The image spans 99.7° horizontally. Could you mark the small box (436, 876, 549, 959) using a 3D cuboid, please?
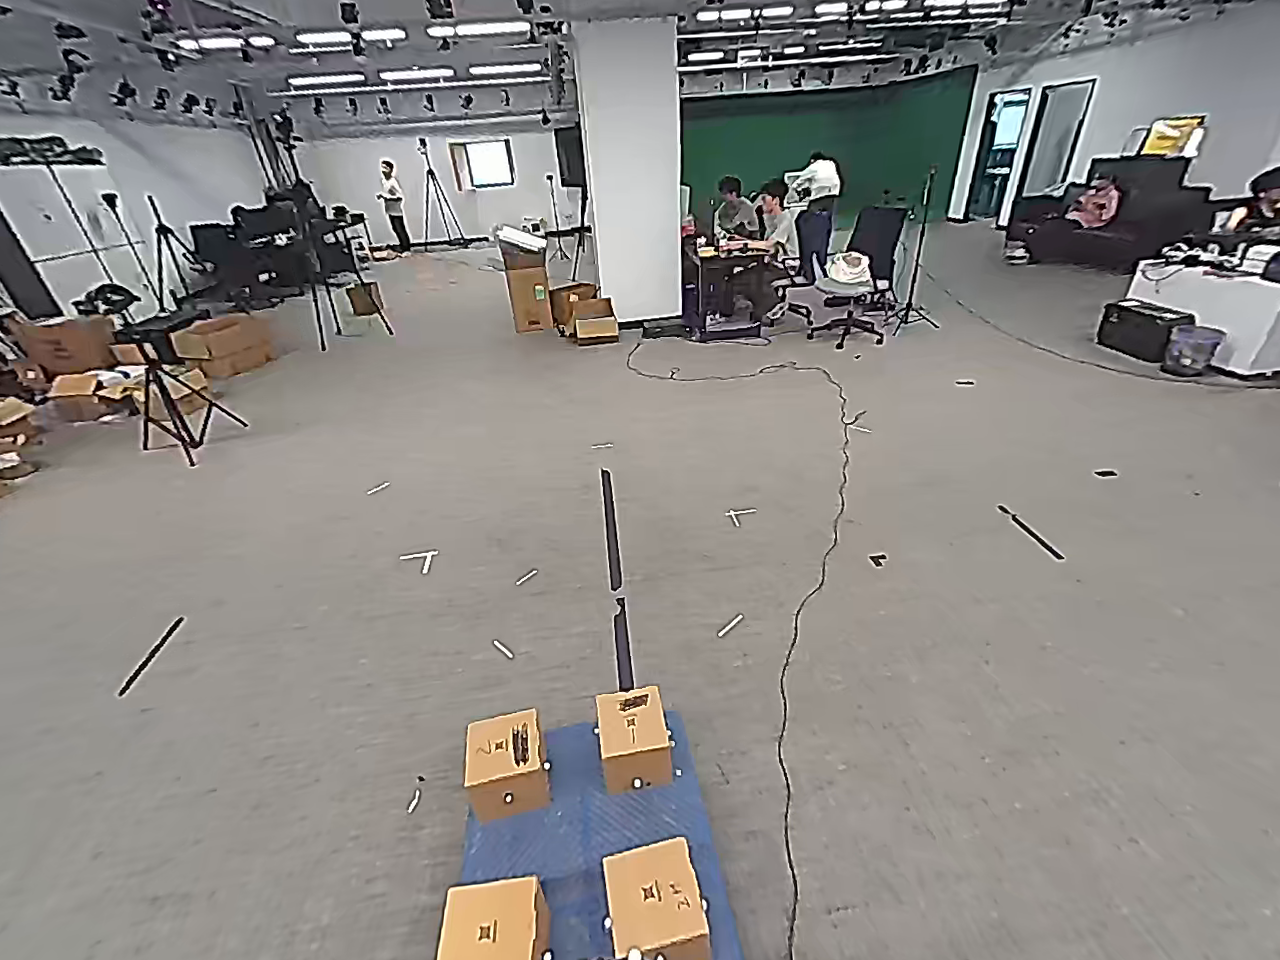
[{"bbox_3d":[-0.276,0.901,1.032,0.179,0.176,0.168,-5,31,-4],"label":"small box"}]

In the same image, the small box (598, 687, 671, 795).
[{"bbox_3d":[-0.016,0.666,1.383,0.168,0.176,0.179,-7,33,-5],"label":"small box"}]

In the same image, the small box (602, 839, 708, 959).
[{"bbox_3d":[0.029,0.856,1.066,0.179,0.176,0.168,-9,32,-8],"label":"small box"}]
